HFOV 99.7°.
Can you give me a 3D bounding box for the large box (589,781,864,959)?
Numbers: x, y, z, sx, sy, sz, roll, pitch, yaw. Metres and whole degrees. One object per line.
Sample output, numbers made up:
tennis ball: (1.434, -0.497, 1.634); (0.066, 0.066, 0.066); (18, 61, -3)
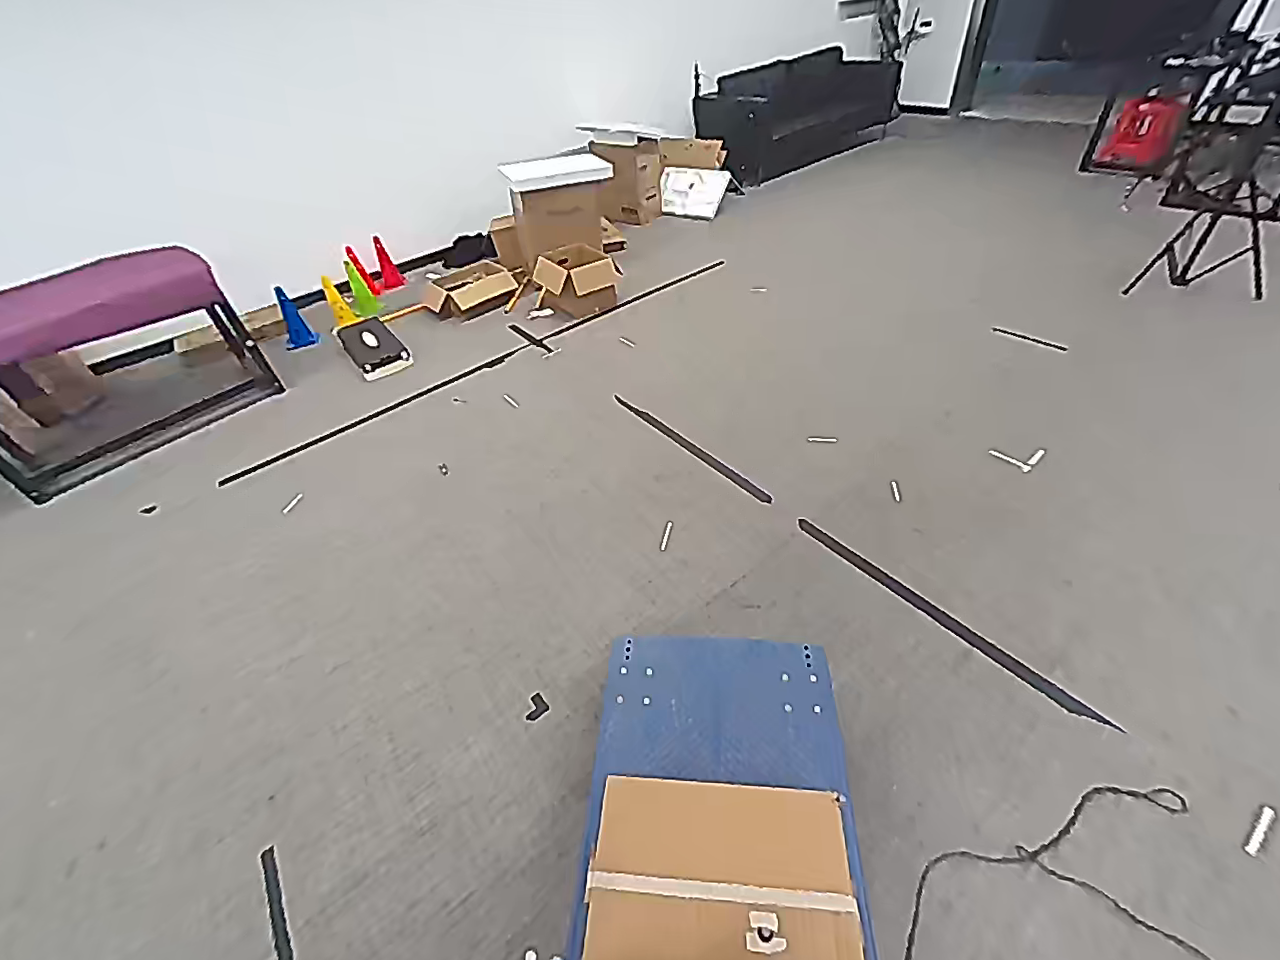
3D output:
large box: (0.138, 0.756, 0.938); (0.408, 0.320, 0.320); (0, 43, 7)
